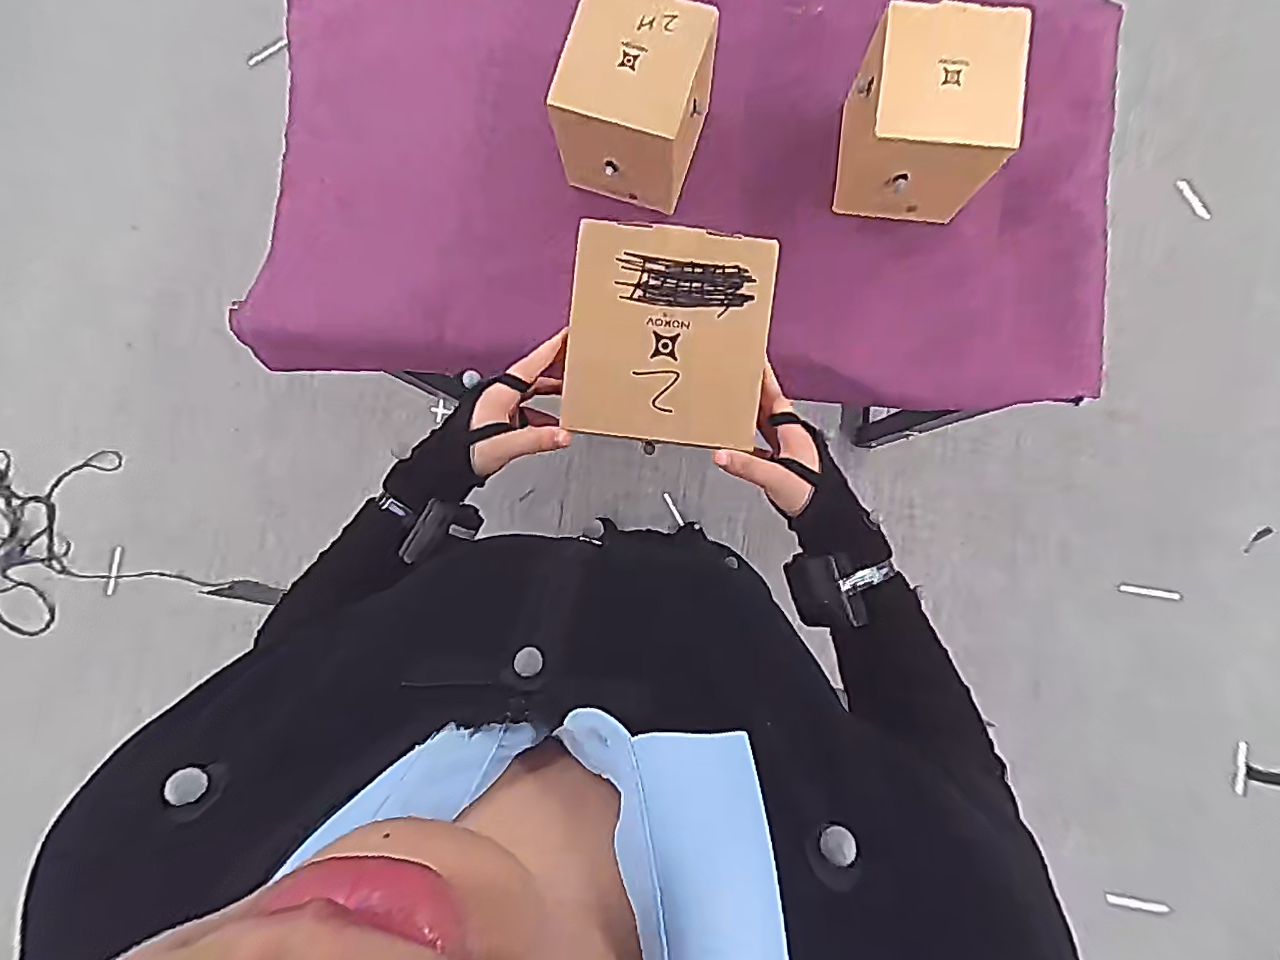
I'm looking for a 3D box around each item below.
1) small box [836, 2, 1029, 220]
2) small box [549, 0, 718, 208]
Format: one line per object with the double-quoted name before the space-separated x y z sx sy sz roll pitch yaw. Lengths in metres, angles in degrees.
"small box" 0.371 -0.473 0.717 0.168 0.176 0.179 7 86 4
"small box" -0.005 -0.508 0.733 0.168 0.176 0.179 19 87 3
